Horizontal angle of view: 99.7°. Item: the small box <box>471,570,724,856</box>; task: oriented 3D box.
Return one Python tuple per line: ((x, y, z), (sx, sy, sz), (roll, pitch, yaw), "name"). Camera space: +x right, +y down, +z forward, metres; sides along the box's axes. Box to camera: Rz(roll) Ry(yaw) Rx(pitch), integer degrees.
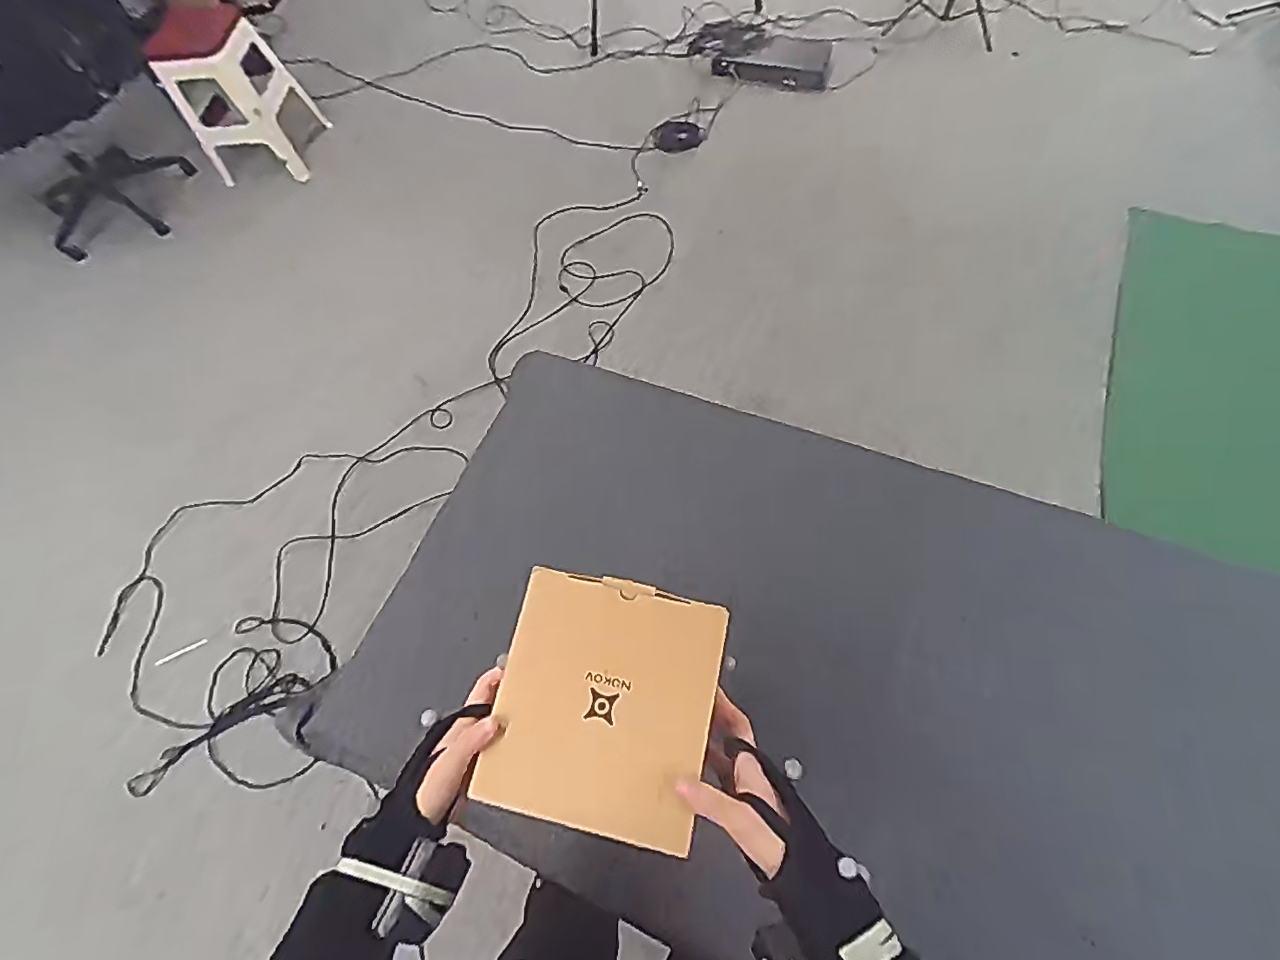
((-0.024, 0.199, 0.494), (0.168, 0.176, 0.179), (12, 70, 7), "small box")
